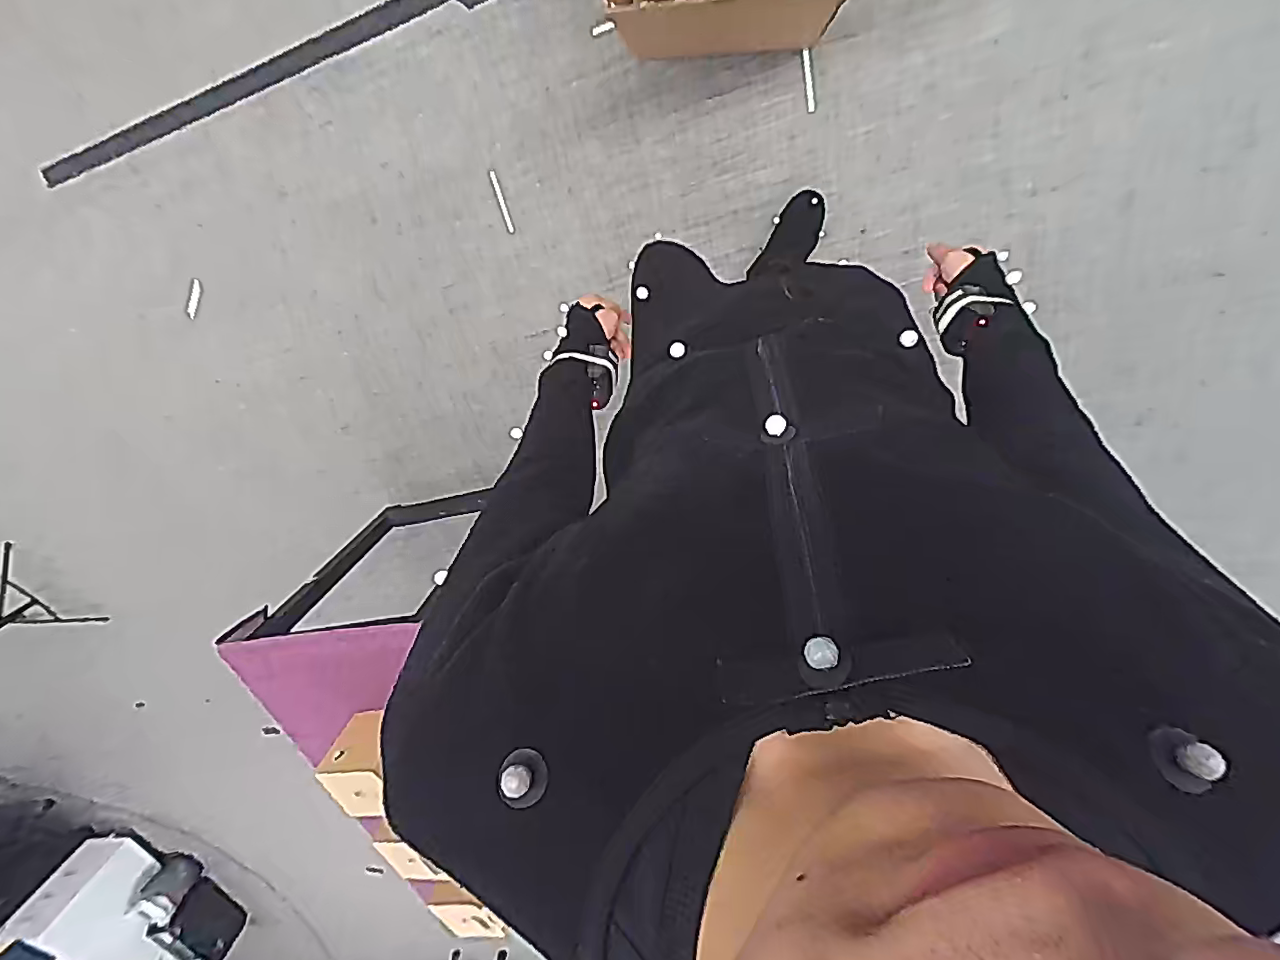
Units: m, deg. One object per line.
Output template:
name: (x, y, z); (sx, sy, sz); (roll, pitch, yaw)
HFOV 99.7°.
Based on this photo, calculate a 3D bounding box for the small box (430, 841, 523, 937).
small box: (-0.456, 1.168, 1.551); (0.179, 0.176, 0.168); (-19, 113, 19)

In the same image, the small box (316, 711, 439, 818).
small box: (-0.630, 0.691, 1.320); (0.179, 0.176, 0.168); (-12, 116, 15)
